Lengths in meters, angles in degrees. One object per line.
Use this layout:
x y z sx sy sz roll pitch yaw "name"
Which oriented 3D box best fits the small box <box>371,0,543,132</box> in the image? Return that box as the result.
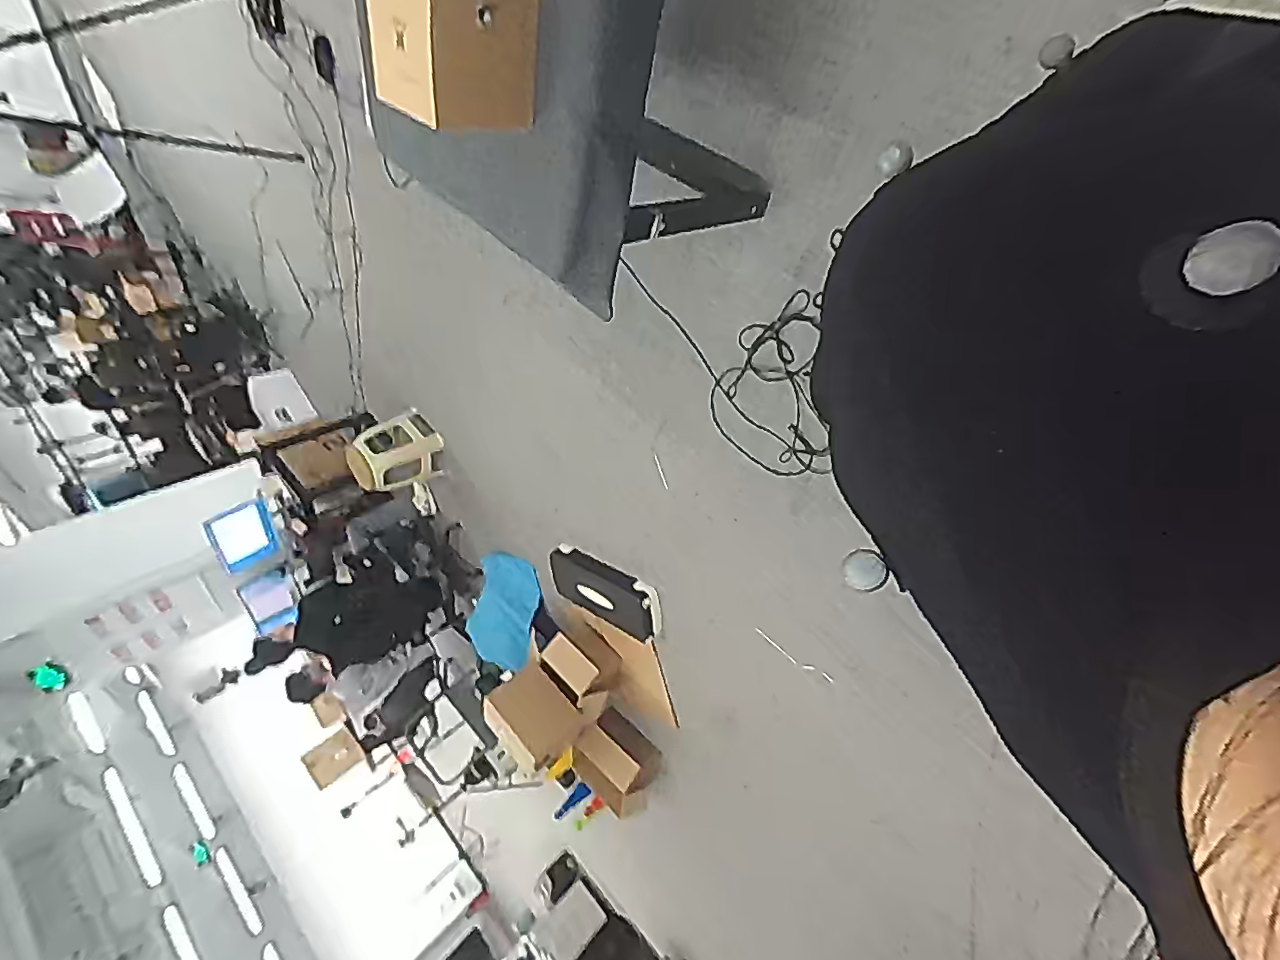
-0.253 -0.615 0.764 0.168 0.176 0.179 39 138 26 "small box"
